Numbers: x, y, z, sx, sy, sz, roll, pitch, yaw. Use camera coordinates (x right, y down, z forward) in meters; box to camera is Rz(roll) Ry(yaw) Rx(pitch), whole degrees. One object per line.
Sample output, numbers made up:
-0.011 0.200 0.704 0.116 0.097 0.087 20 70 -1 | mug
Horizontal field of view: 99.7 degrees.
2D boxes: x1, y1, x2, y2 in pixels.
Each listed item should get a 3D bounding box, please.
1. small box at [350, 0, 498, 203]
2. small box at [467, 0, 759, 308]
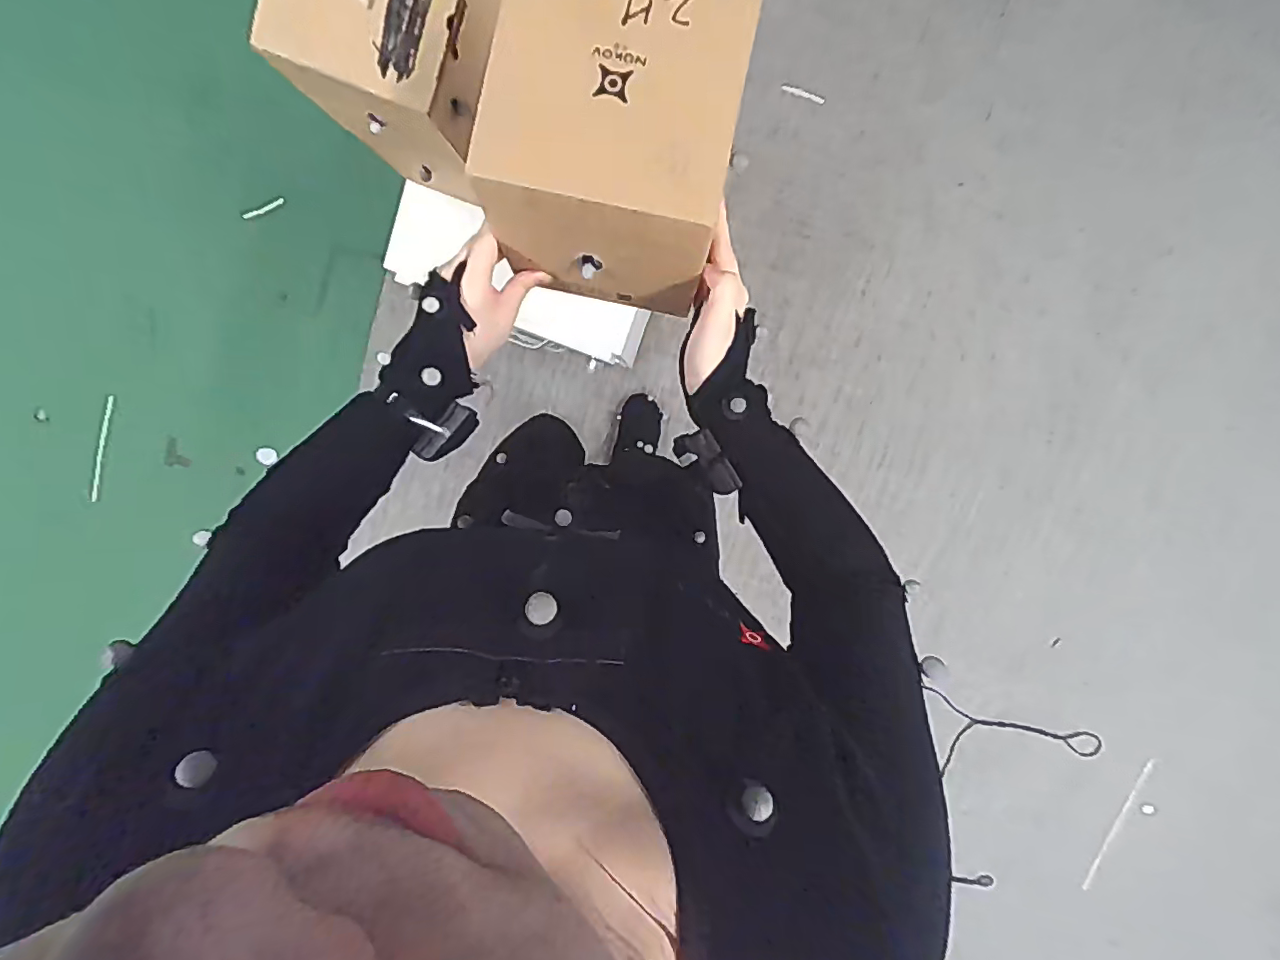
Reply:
-0.245 -0.489 0.726 0.179 0.176 0.168 19 100 -3 | small box
-0.018 -0.259 0.432 0.168 0.176 0.179 12 87 -1 | small box
